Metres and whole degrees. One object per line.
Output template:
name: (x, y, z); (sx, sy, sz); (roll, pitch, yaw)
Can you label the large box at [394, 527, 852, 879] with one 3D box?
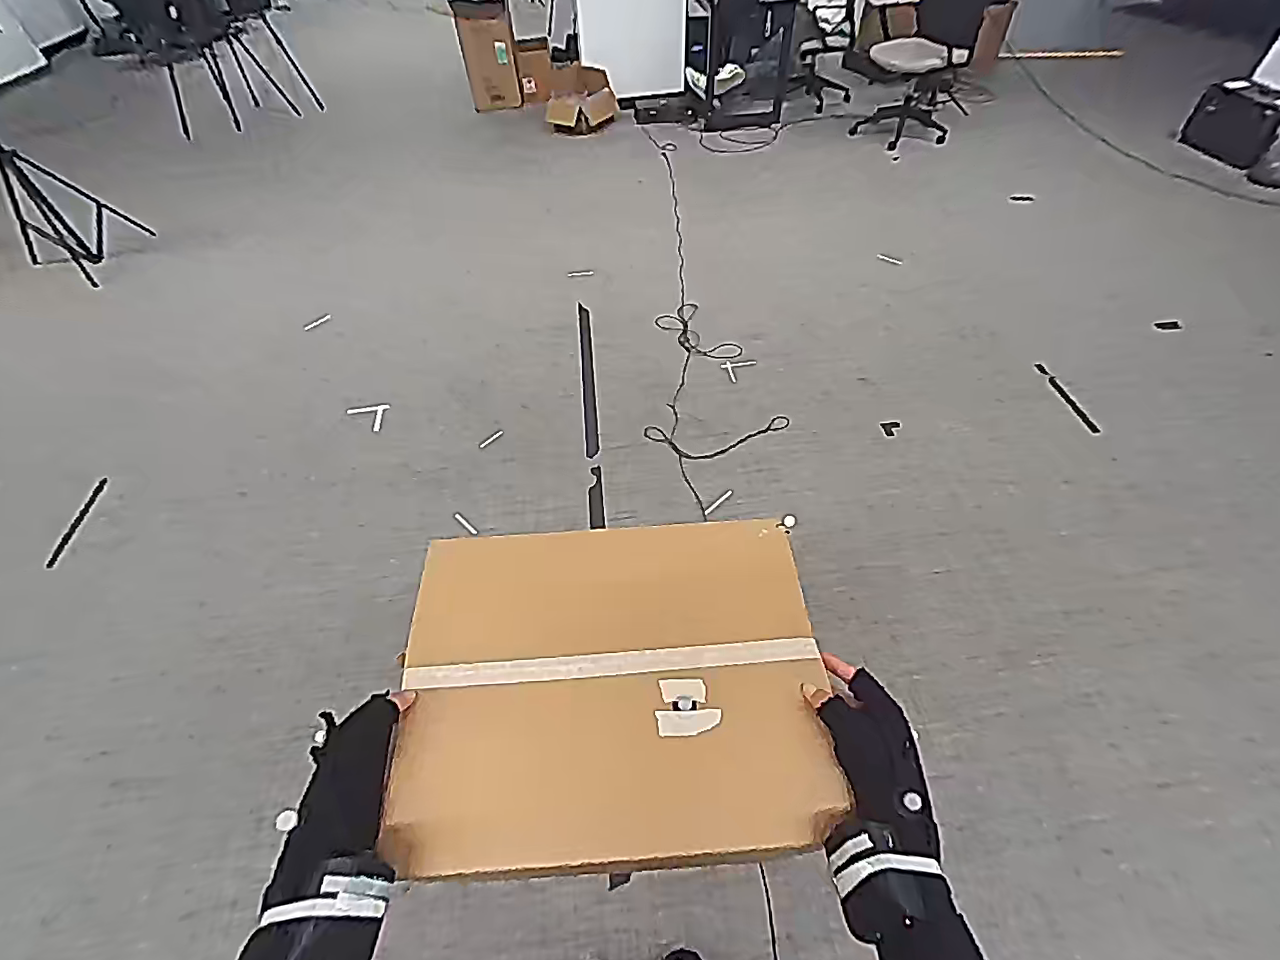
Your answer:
large box: (-0.022, 0.280, 0.666); (0.408, 0.320, 0.320); (-3, 54, -2)
